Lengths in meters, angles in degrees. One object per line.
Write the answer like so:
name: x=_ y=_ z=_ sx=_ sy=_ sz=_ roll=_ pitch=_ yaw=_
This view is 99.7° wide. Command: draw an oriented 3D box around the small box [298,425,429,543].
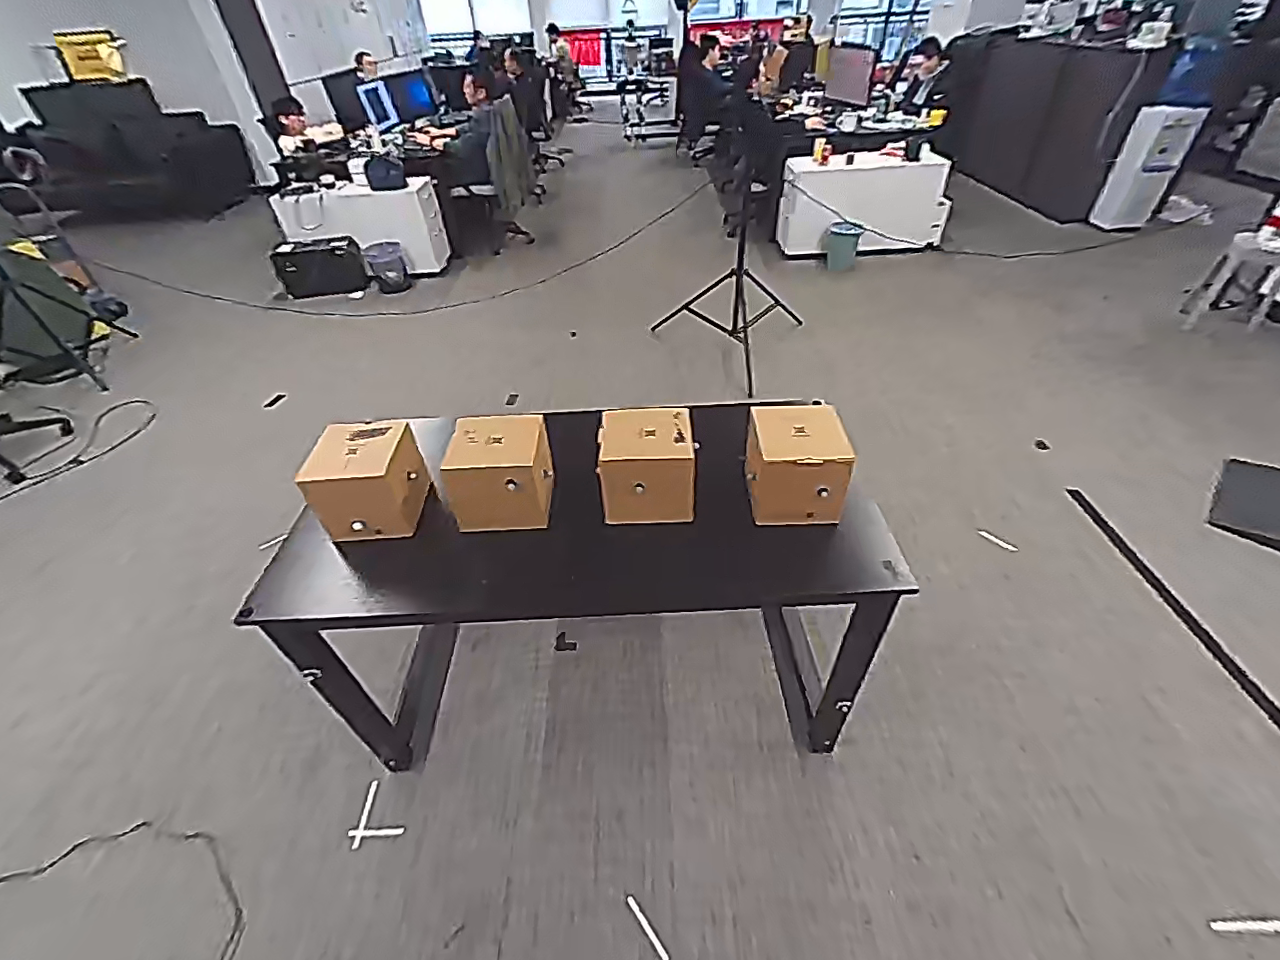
small box: x=-0.546 y=0.008 z=1.101 sx=0.168 sy=0.176 sz=0.179 roll=-4 pitch=42 yaw=-1

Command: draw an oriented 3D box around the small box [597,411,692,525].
small box: x=0.013 y=-0.021 z=1.098 sx=0.179 sy=0.176 sz=0.168 roll=-2 pitch=41 yaw=2

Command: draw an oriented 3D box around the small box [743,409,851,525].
small box: x=0.303 y=-0.023 z=1.080 sx=0.168 sy=0.176 sz=0.179 roll=-1 pitch=40 yaw=2

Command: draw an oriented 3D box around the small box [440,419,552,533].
small box: x=-0.280 y=-0.007 z=1.100 sx=0.179 sy=0.176 sz=0.168 roll=-3 pitch=41 yaw=0
